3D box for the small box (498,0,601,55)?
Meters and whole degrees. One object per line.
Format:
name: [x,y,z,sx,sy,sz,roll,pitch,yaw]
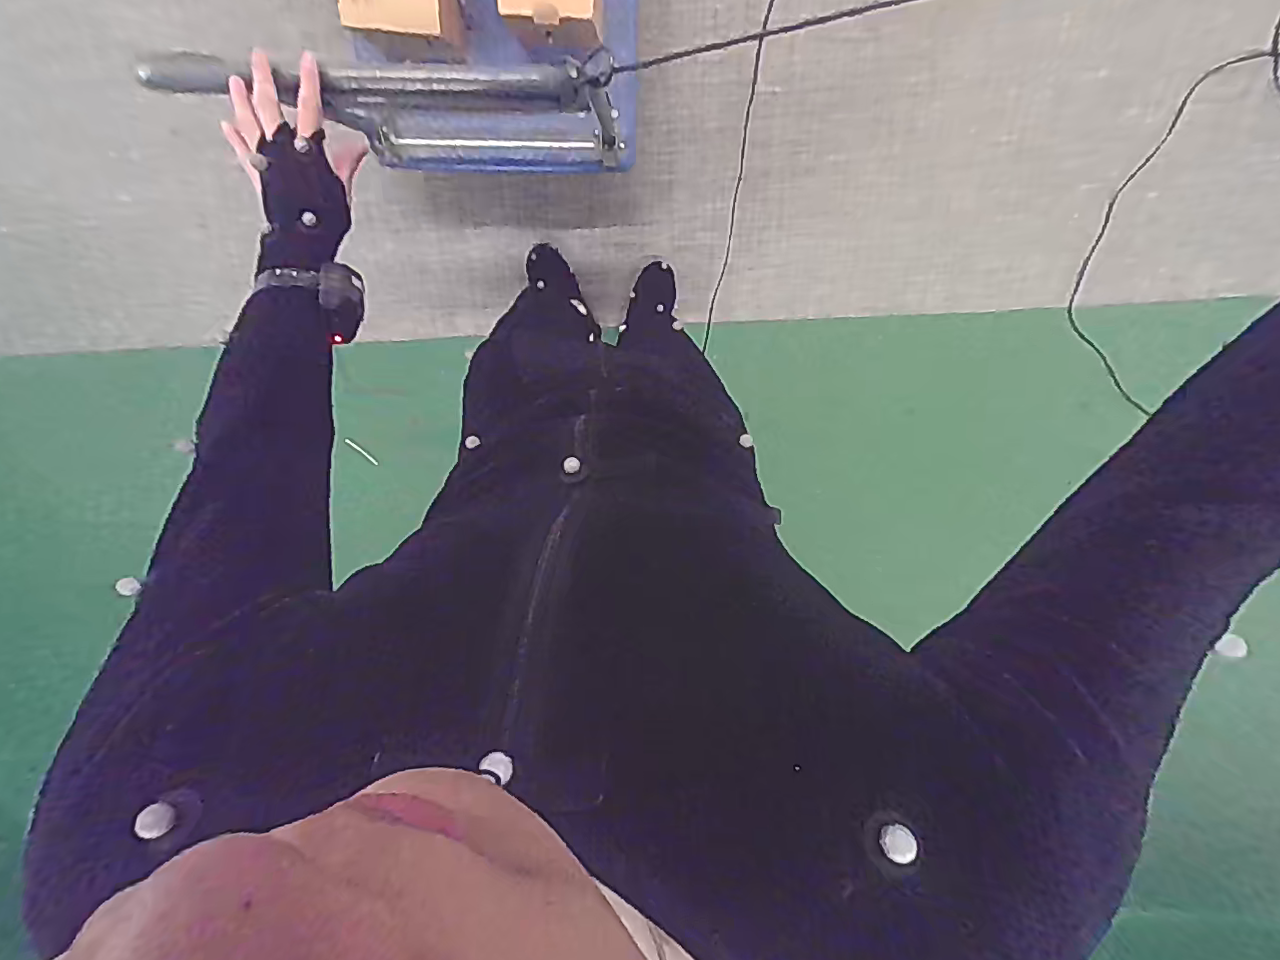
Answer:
small box: [-0.159,-0.896,0.970,0.168,0.176,0.179,2,118,0]
